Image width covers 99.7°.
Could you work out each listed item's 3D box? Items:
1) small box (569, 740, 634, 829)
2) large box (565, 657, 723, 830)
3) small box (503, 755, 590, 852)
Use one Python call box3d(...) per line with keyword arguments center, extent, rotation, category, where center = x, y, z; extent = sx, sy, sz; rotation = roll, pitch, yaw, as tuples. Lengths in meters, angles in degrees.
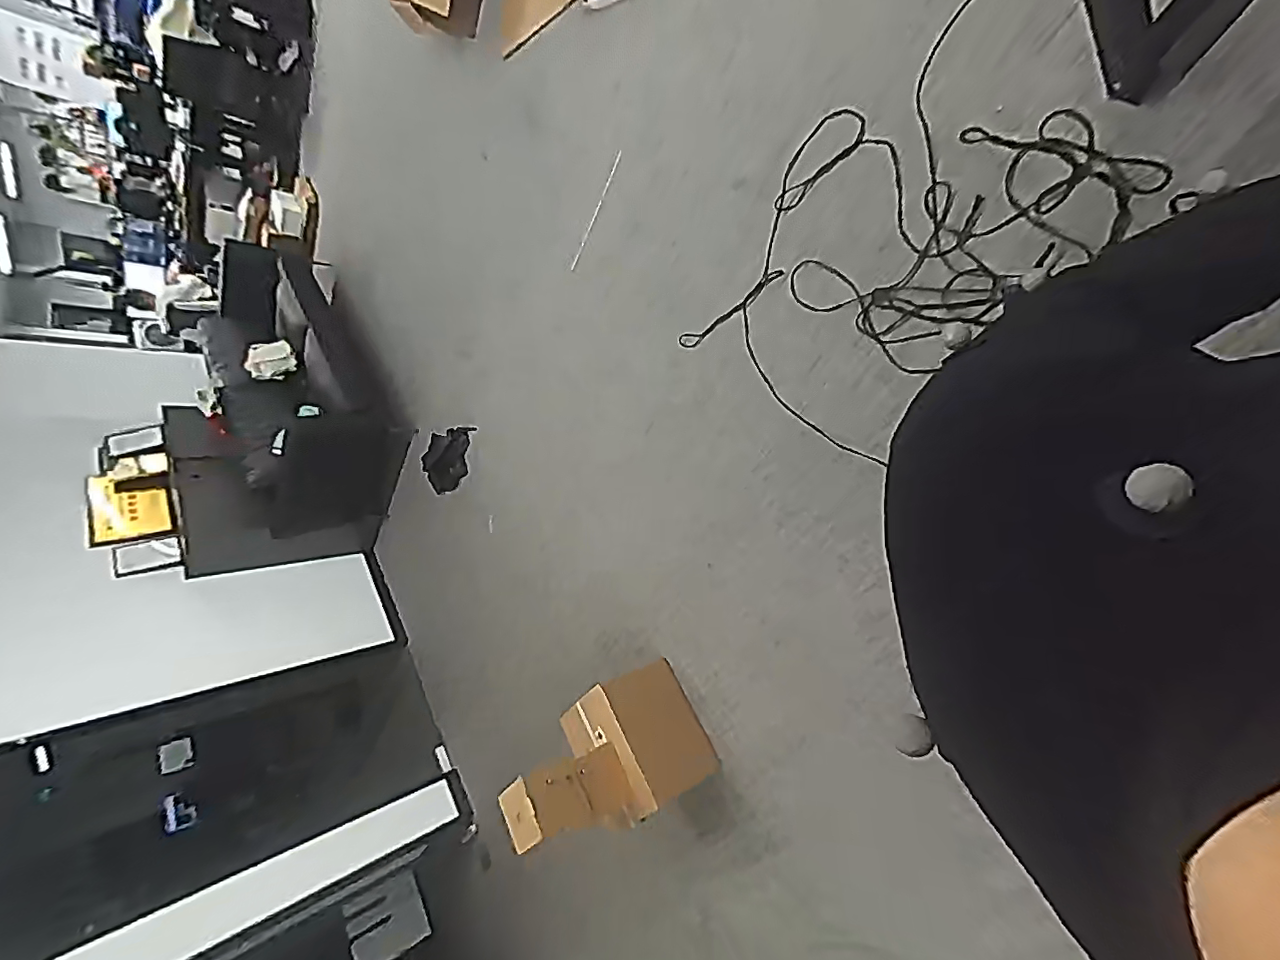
box3d(center=(-0.146, 0.940, 1.676), extent=(0.168, 0.176, 0.179), rotation=(-45, 62, 39), category="small box")
box3d(center=(0.008, 0.892, 1.862), extent=(0.320, 0.320, 0.408), rotation=(-51, 58, 35), category="large box")
box3d(center=(-0.267, 0.930, 1.566), extent=(0.179, 0.176, 0.168), rotation=(-55, 55, 35), category="small box")
